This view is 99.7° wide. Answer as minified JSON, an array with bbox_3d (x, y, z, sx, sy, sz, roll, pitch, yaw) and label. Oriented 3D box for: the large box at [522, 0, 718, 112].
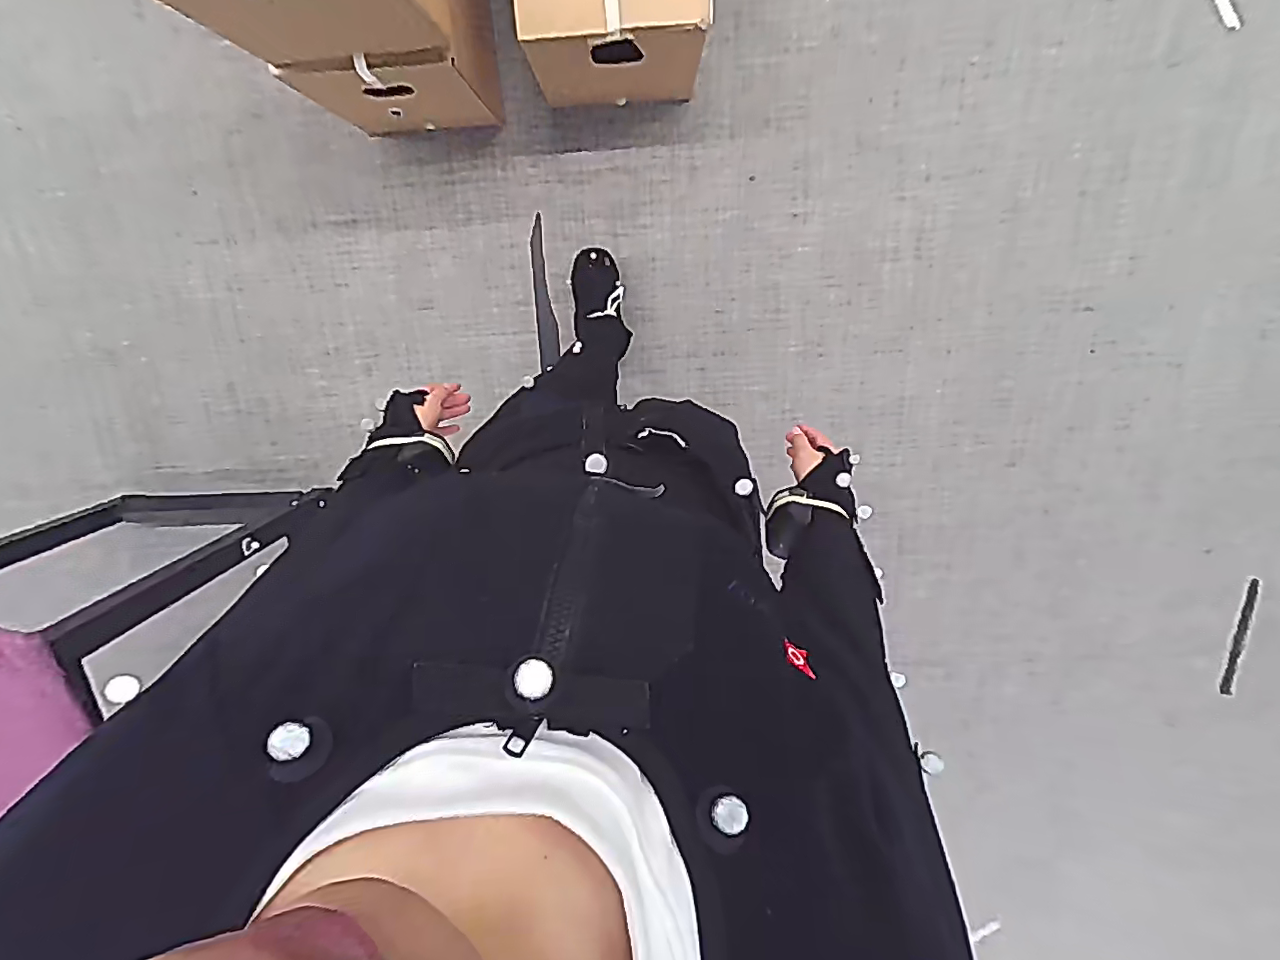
[{"bbox_3d":[-0.044,-0.941,0.952,0.320,0.320,0.408,-3,107,3],"label":"large box"}]
